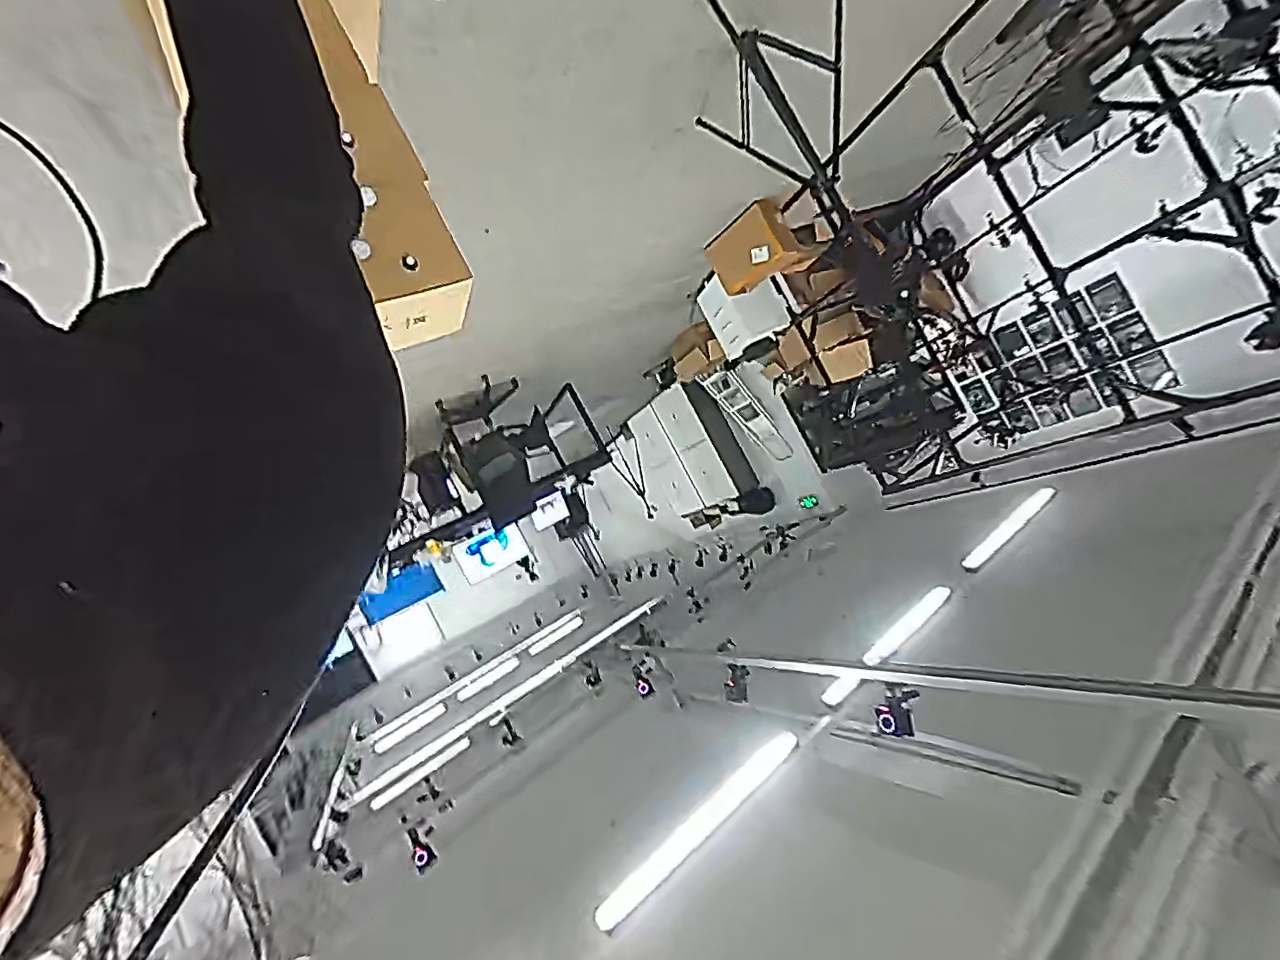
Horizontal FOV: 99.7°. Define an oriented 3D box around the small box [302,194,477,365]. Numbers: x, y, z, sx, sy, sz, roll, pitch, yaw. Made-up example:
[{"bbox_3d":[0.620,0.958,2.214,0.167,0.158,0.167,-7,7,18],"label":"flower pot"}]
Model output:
[{"bbox_3d":[-0.377,-0.306,0.825,0.179,0.176,0.168,-28,179,-28],"label":"small box"}]
